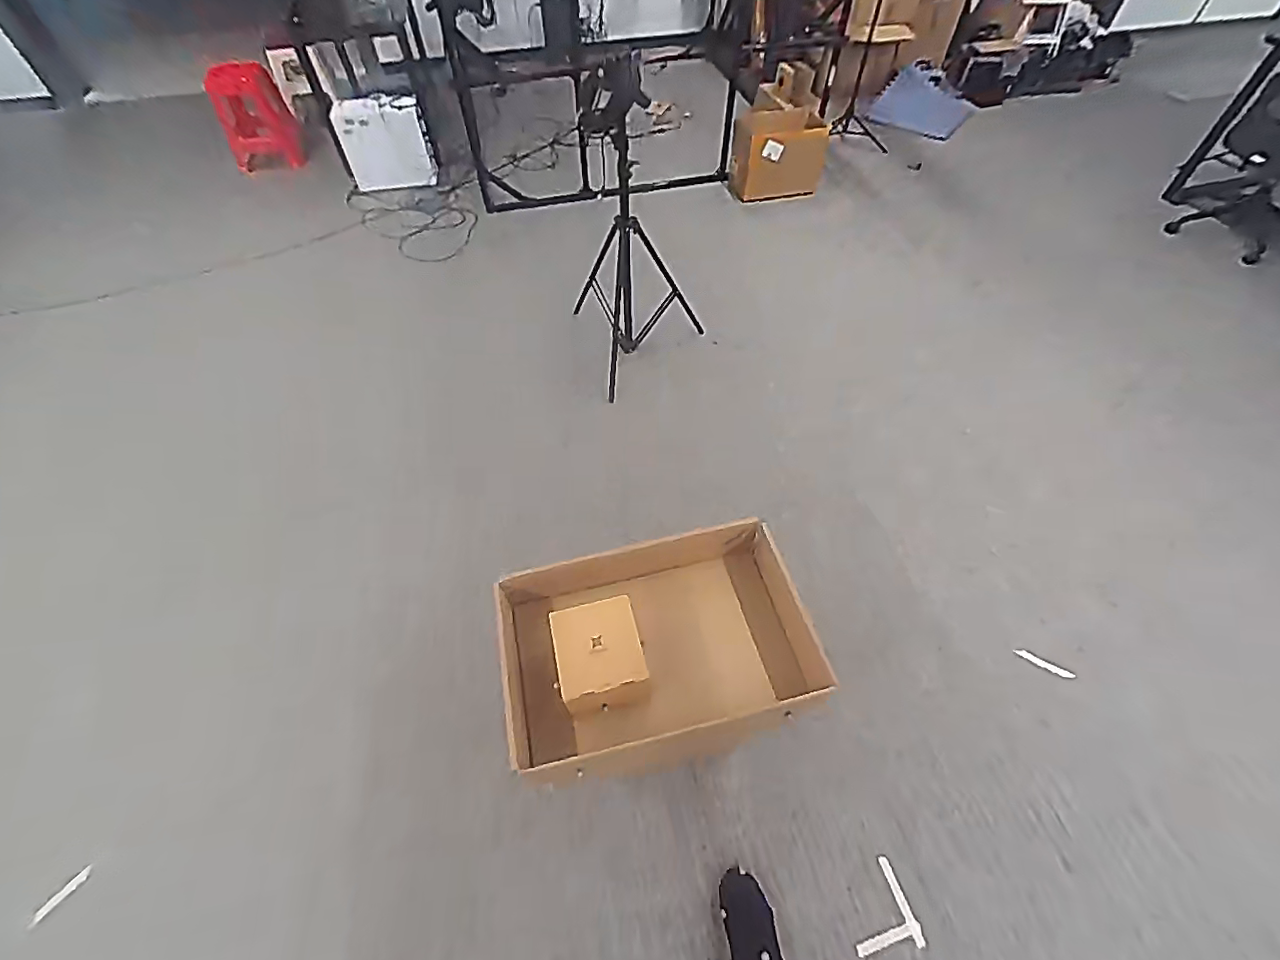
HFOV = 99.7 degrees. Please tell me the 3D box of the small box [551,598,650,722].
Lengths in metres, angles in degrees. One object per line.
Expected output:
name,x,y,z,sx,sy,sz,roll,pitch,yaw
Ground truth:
small box,-0.081,0.371,1.109,0.168,0.176,0.179,-13,55,-8
